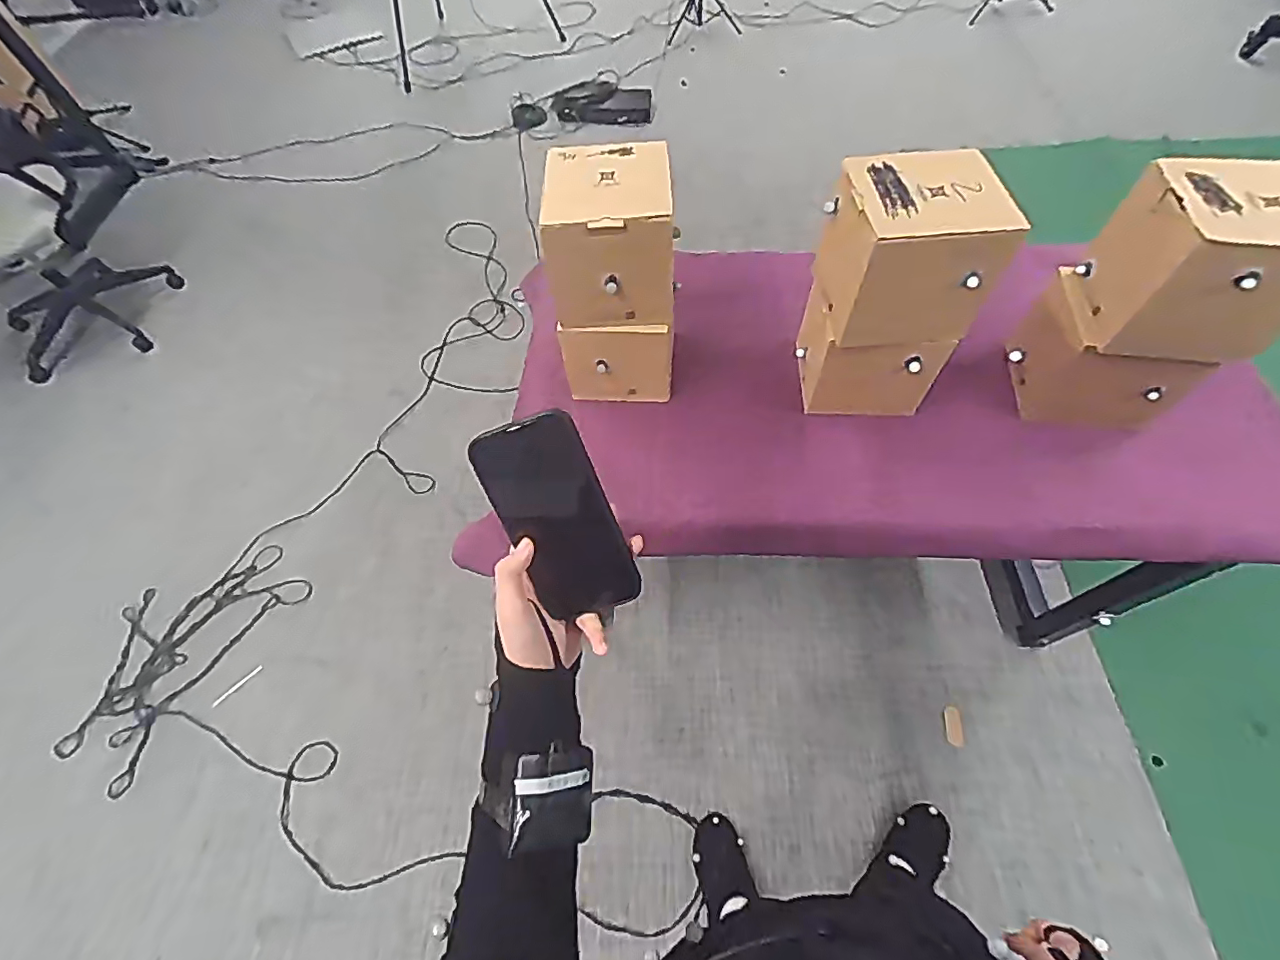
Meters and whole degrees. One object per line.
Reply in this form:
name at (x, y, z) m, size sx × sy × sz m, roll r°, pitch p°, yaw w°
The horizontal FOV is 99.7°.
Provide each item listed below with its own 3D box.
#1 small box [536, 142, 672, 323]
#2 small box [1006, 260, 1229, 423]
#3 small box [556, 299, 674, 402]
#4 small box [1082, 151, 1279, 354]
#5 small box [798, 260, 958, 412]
small box at (-0.041, -0.337, 0.761) m, size 0.168 × 0.176 × 0.179 m, roll -3°, pitch 59°, yaw 2°
small box at (0.695, -0.202, 0.813) m, size 0.179 × 0.176 × 0.168 m, roll 6°, pitch 59°, yaw 9°
small box at (-0.030, -0.244, 0.896) m, size 0.168 × 0.176 × 0.179 m, roll 2°, pitch 59°, yaw 6°
small box at (0.692, -0.274, 0.665) m, size 0.179 × 0.176 × 0.168 m, roll 6°, pitch 59°, yaw 8°
small box at (0.357, -0.221, 0.849) m, size 0.179 × 0.176 × 0.168 m, roll 1°, pitch 59°, yaw 5°
